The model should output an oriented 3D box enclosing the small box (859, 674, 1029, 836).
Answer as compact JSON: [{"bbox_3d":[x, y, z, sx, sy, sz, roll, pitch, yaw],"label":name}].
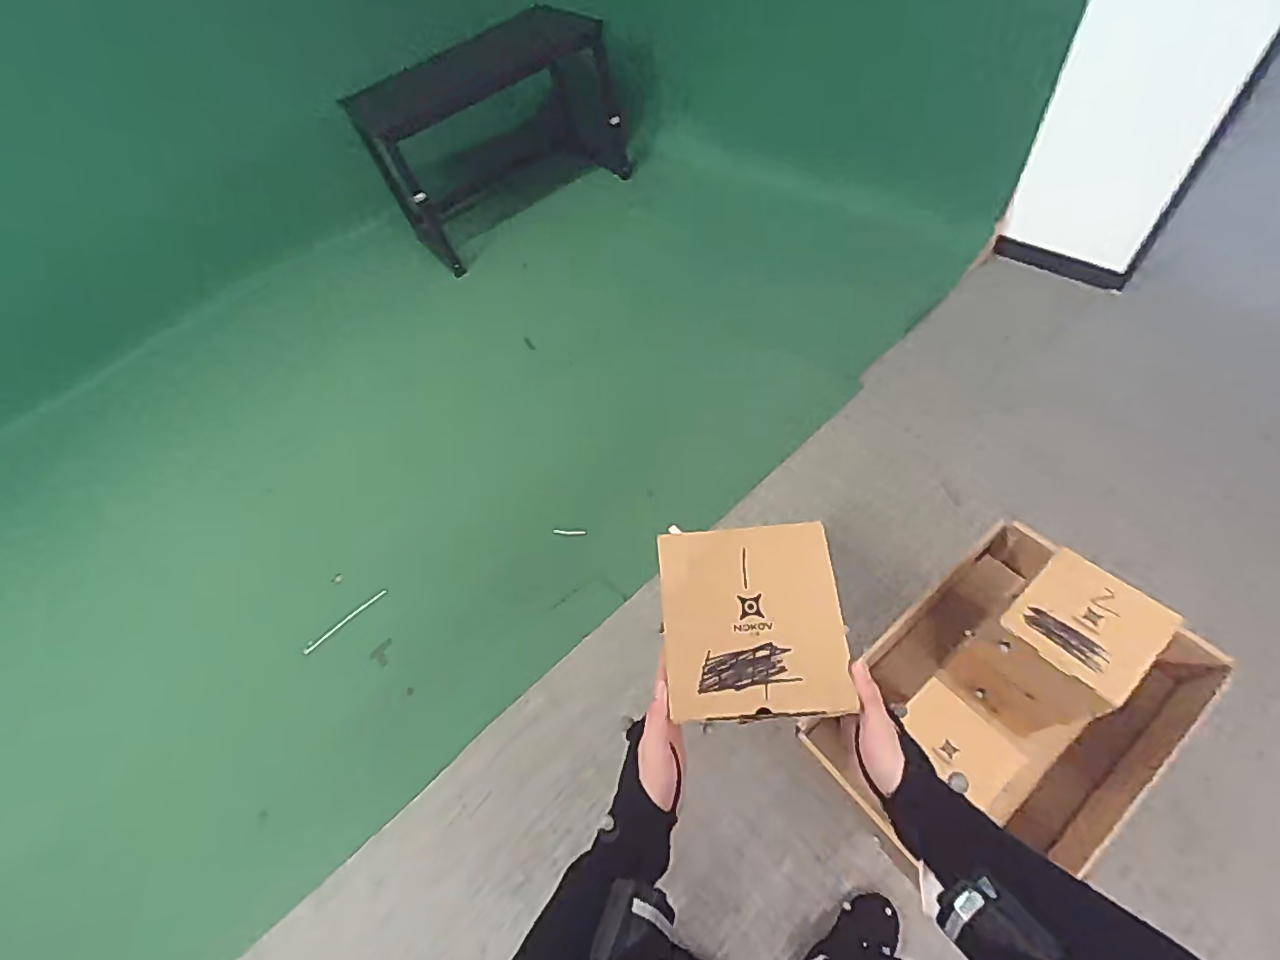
[{"bbox_3d":[0.500,0.468,0.920,0.179,0.176,0.168,-37,56,-13],"label":"small box"}]

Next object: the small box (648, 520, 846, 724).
[{"bbox_3d":[0.103,0.158,0.574,0.168,0.176,0.179,-6,65,5],"label":"small box"}]

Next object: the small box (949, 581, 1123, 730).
[{"bbox_3d":[0.698,0.320,0.979,0.179,0.176,0.168,-40,58,-12],"label":"small box"}]
